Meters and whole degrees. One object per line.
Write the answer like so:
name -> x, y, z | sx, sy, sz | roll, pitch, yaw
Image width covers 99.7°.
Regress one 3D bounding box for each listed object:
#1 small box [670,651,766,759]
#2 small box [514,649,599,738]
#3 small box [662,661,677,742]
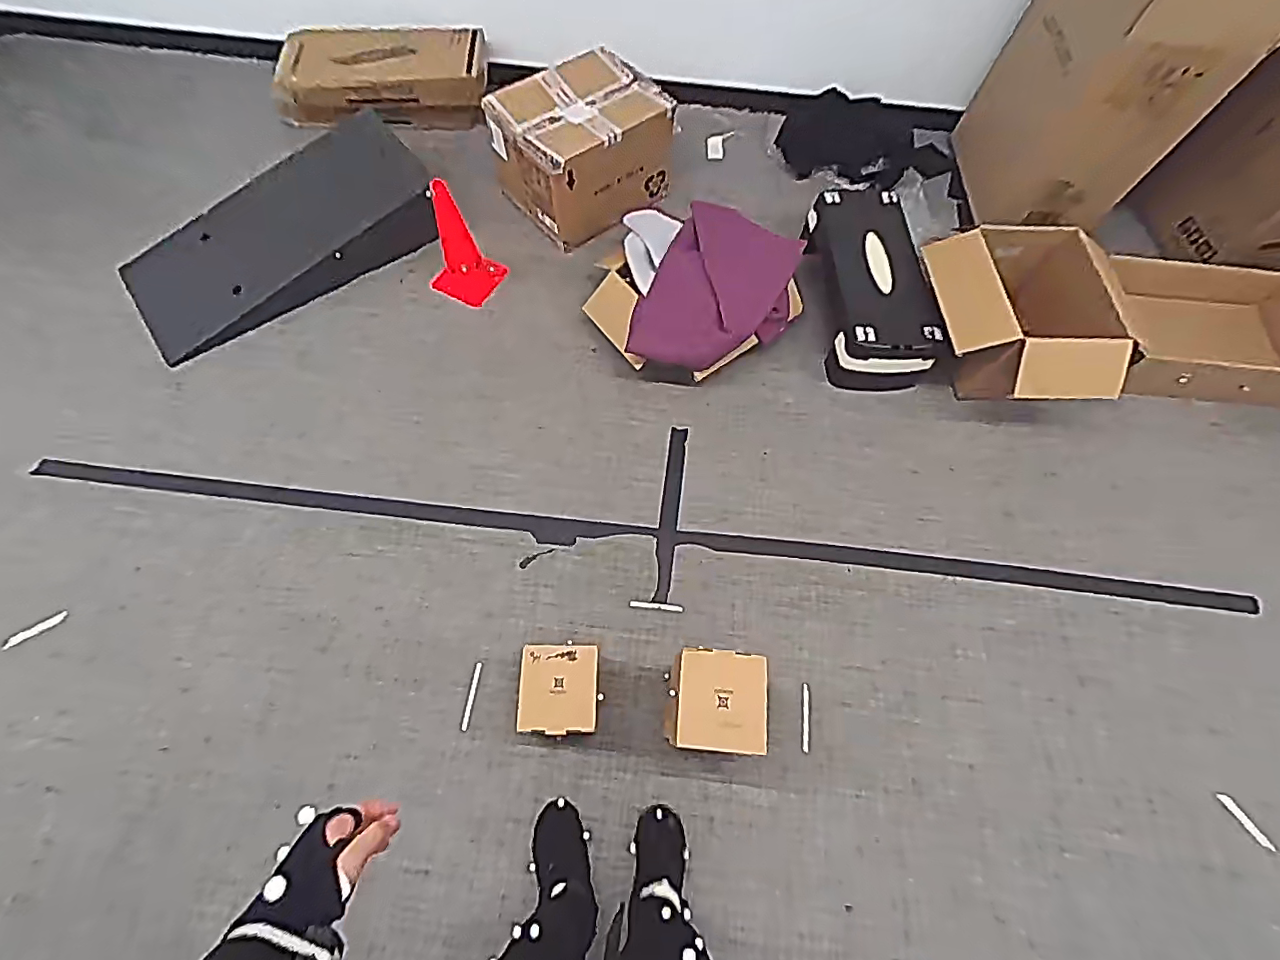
small box -> 0.150, 0.447, 1.076 | 0.168, 0.176, 0.179 | 5, 67, 1
small box -> -0.179, 0.483, 1.224 | 0.168, 0.176, 0.179 | 1, 66, -1
small box -> 0.149, 0.516, 1.223 | 0.179, 0.176, 0.168 | 10, 66, 1
